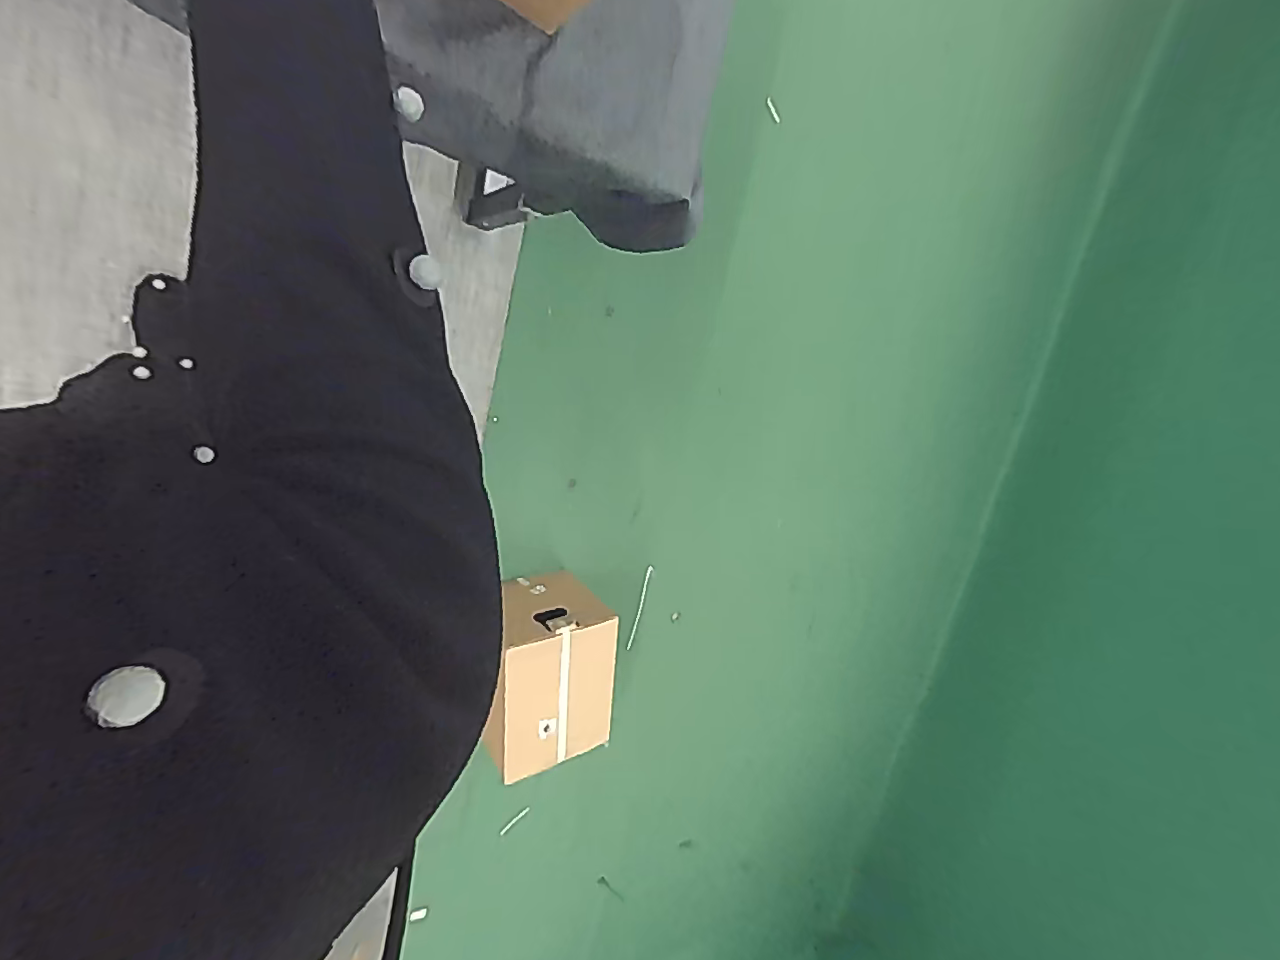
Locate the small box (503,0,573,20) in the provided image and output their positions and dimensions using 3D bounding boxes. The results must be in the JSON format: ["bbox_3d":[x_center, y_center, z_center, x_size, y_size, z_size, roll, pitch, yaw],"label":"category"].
[{"bbox_3d":[-0.094,-0.518,0.422,0.179,0.176,0.168,9,101,-38],"label":"small box"}]
